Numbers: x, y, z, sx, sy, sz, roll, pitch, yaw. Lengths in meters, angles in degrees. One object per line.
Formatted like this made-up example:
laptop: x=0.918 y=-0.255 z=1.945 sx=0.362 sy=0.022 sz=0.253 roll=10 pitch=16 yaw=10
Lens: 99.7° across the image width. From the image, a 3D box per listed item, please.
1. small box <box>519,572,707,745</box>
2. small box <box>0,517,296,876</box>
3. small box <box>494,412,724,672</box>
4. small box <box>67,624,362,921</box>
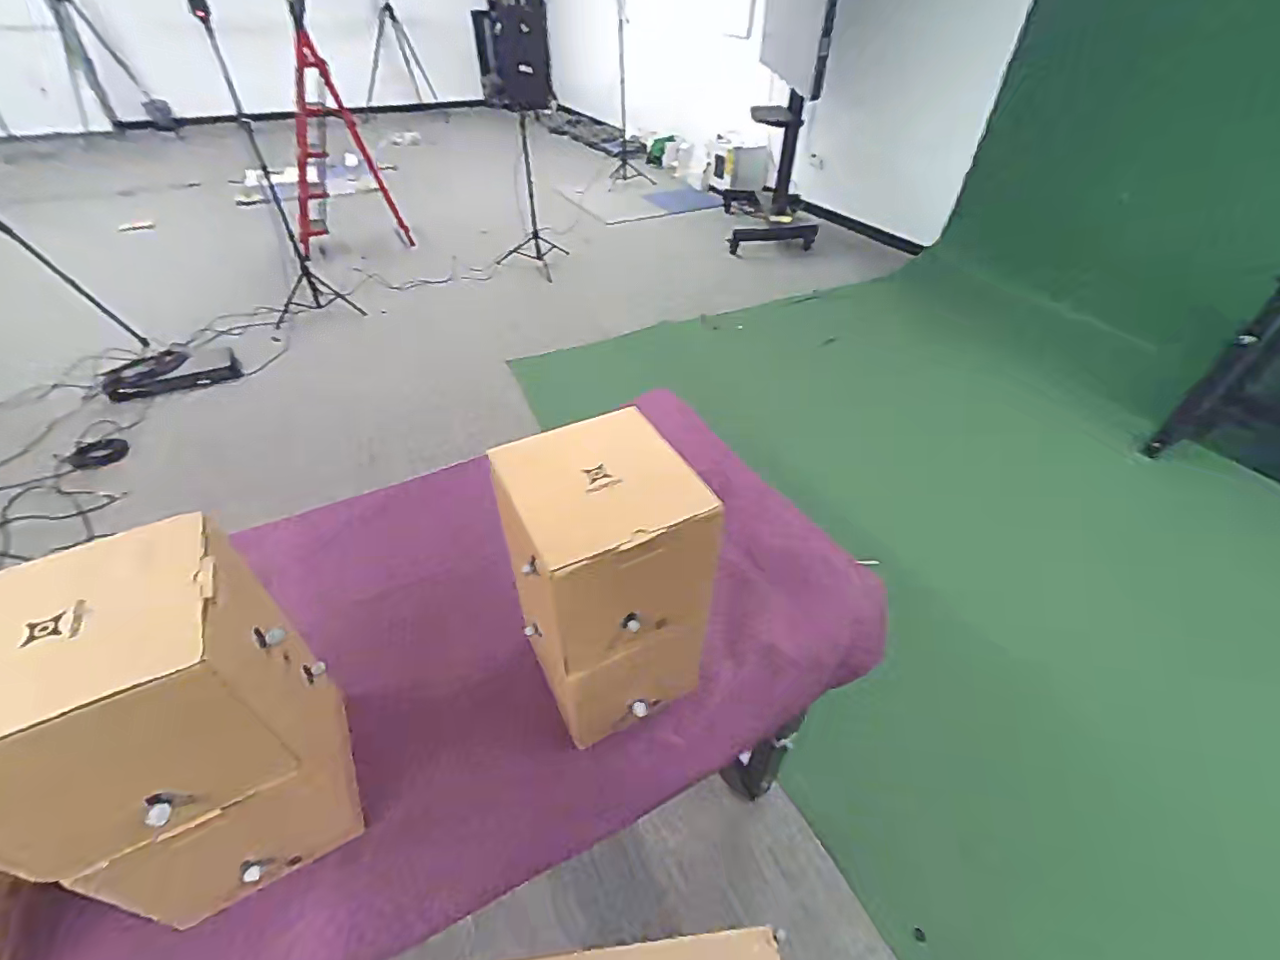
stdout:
small box: x=-0.040 y=0.183 z=0.666 sx=0.168 sy=0.176 sz=0.179 roll=-19 pitch=47 yaw=-21
small box: x=-0.398 y=0.164 z=0.429 sx=0.179 sy=0.176 sz=0.168 roll=-20 pitch=45 yaw=-23
small box: x=-0.038 y=0.060 z=0.561 sx=0.168 sy=0.176 sz=0.179 roll=-20 pitch=46 yaw=-22
small box: x=-0.400 y=0.286 z=0.540 sx=0.168 sy=0.176 sz=0.179 roll=-21 pitch=46 yaw=-22
